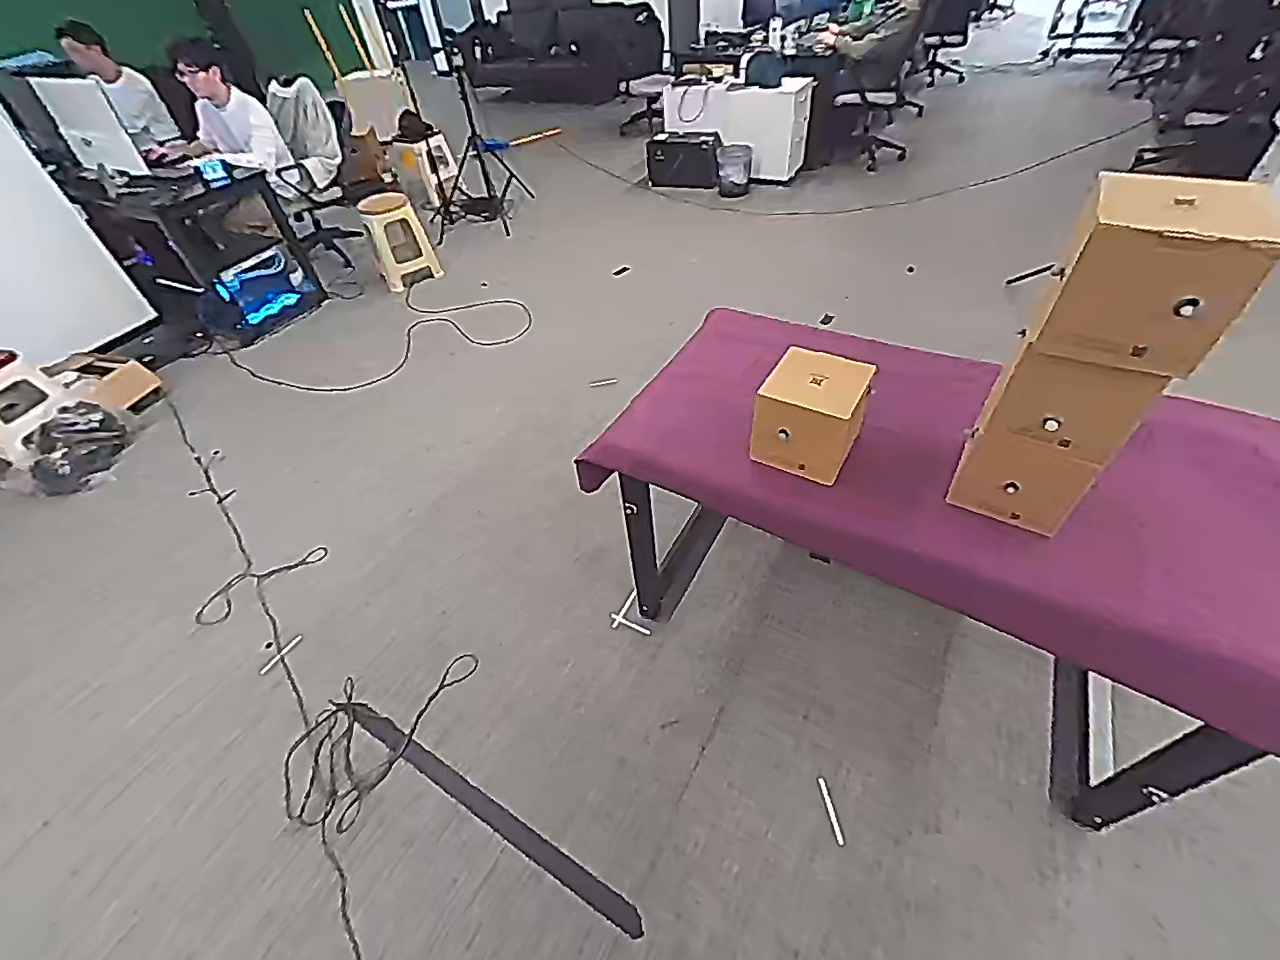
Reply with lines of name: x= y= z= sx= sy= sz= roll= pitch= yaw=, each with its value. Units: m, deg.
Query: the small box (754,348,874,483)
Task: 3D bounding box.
small box: x=0.325 y=-0.123 z=1.033 sx=0.168 sy=0.176 sz=0.179 roll=21 pitch=51 yaw=24

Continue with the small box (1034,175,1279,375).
small box: x=0.623 y=-0.255 z=0.673 sx=0.168 sy=0.176 sz=0.179 roll=20 pitch=51 yaw=23

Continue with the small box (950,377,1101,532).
small box: x=0.653 y=-0.042 z=0.920 sx=0.168 sy=0.176 sz=0.179 roll=23 pitch=52 yaw=25

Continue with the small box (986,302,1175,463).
small box: x=0.645 y=-0.158 z=0.803 sx=0.168 sy=0.176 sz=0.179 roll=22 pitch=53 yaw=25
